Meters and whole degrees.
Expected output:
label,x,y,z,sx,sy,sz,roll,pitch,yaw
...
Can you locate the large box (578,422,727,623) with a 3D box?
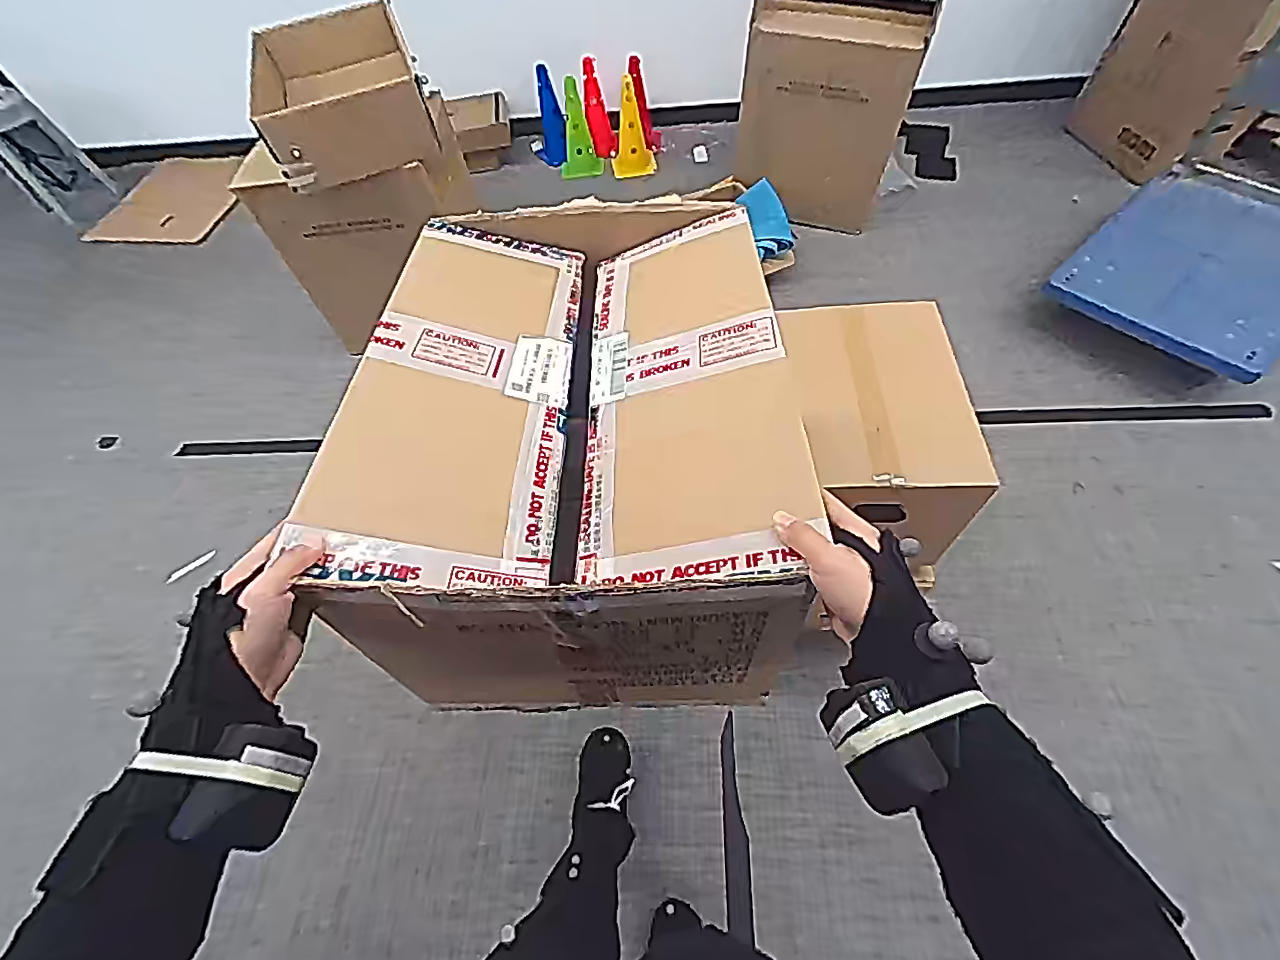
label,x,y,z,sx,sy,sz,roll,pitch,yaw
large box,0.030,0.110,1.336,0.320,0.320,0.408,-3,58,4
